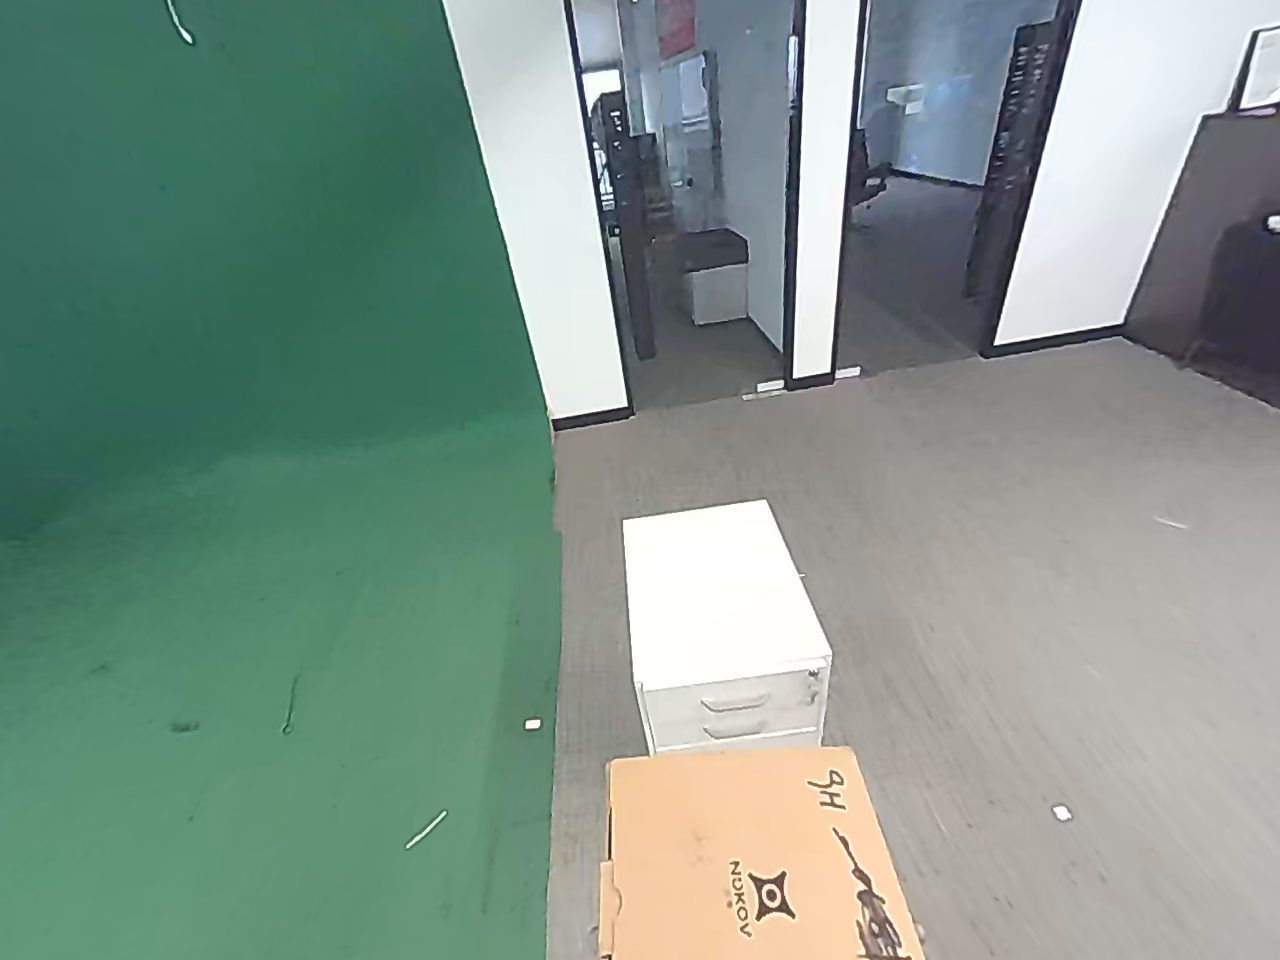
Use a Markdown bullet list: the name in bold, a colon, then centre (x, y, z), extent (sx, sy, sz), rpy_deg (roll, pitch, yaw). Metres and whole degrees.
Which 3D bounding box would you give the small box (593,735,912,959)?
- **small box**: centre (0.061, 0.300, 0.375), extent (0.179, 0.176, 0.168), rpy_deg (-2, 39, -2)
